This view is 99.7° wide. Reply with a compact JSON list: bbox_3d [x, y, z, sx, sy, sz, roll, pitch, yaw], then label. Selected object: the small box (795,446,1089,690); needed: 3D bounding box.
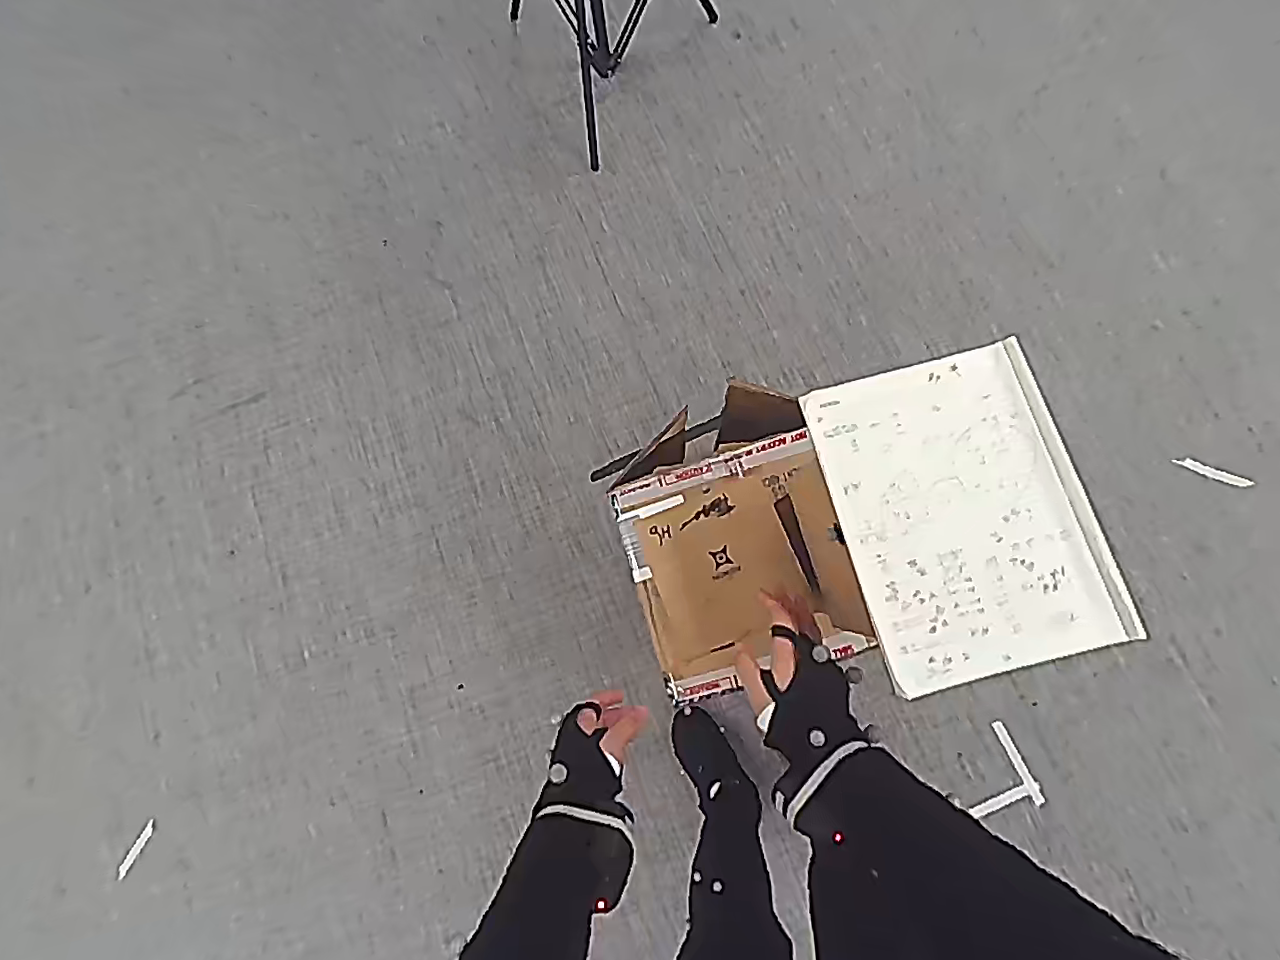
[{"bbox_3d":[0.269,0.085,0.532,0.168,0.176,0.179,-14,80,-1],"label":"small box"}]
